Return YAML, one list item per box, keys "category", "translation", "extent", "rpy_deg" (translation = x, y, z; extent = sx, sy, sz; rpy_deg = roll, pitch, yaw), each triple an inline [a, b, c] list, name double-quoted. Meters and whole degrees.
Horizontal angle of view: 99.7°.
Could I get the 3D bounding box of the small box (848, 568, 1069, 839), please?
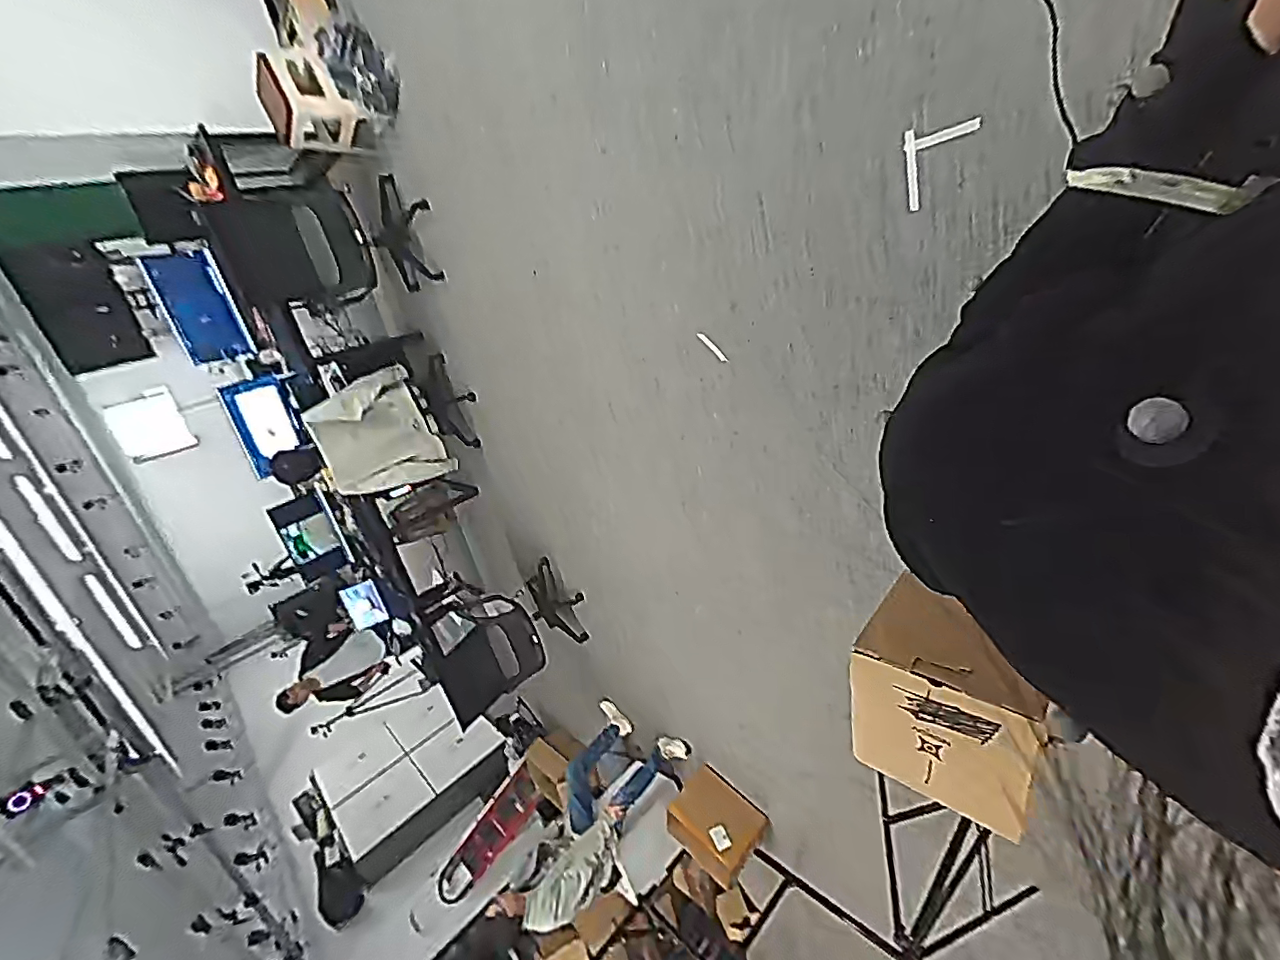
- category: "small box"
  translation: [0.341, 0.222, 0.585]
  extent: [0.168, 0.176, 0.179]
  rpy_deg: [14, 126, 43]
